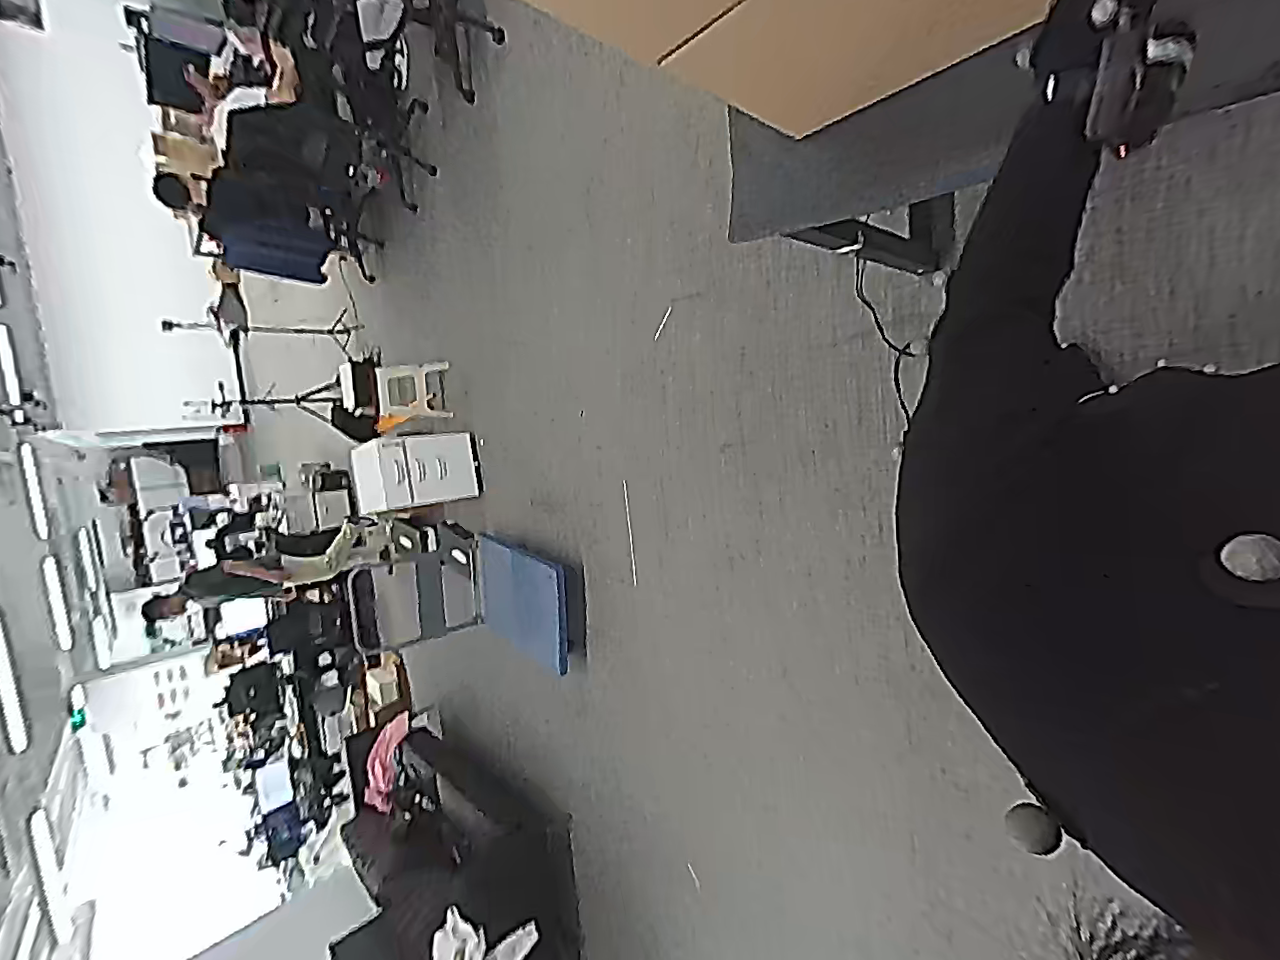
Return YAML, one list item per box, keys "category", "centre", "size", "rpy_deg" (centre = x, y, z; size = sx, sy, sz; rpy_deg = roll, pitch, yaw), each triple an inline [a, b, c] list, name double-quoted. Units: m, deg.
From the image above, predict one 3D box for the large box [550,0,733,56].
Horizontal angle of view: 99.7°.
- category: "large box"
  centre: [0.033, -0.621, 0.383]
  size: [0.408, 0.320, 0.320]
  rpy_deg: [3, 101, 46]
